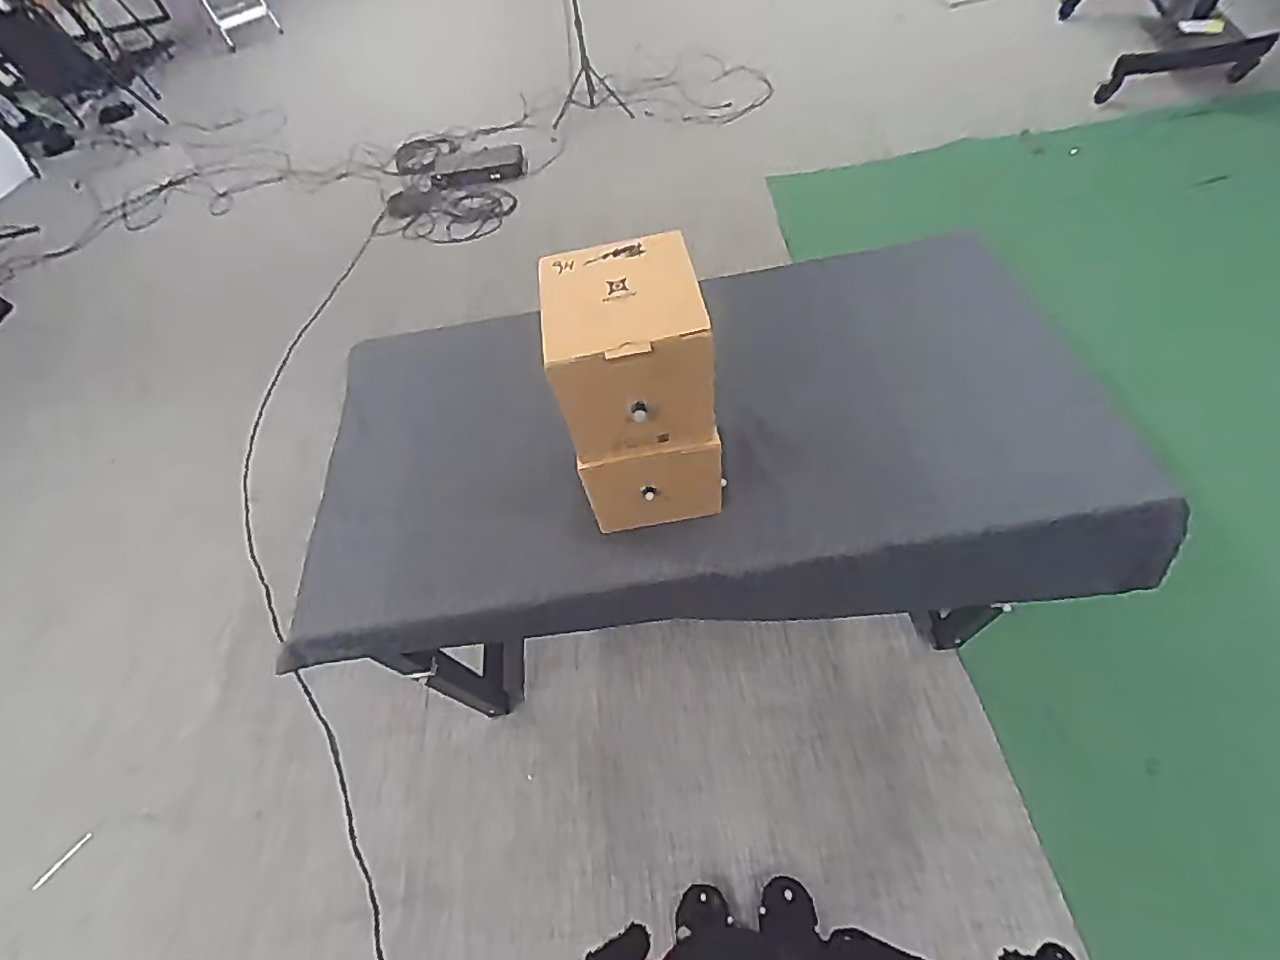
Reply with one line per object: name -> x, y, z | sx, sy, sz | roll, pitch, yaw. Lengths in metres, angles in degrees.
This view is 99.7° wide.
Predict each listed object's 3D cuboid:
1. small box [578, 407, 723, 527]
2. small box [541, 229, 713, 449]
small box -> 0.013, -0.053, 0.755 | 0.179, 0.176, 0.168 | -10, 56, 3
small box -> -0.011, -0.151, 0.627 | 0.168, 0.176, 0.179 | -10, 57, 2
